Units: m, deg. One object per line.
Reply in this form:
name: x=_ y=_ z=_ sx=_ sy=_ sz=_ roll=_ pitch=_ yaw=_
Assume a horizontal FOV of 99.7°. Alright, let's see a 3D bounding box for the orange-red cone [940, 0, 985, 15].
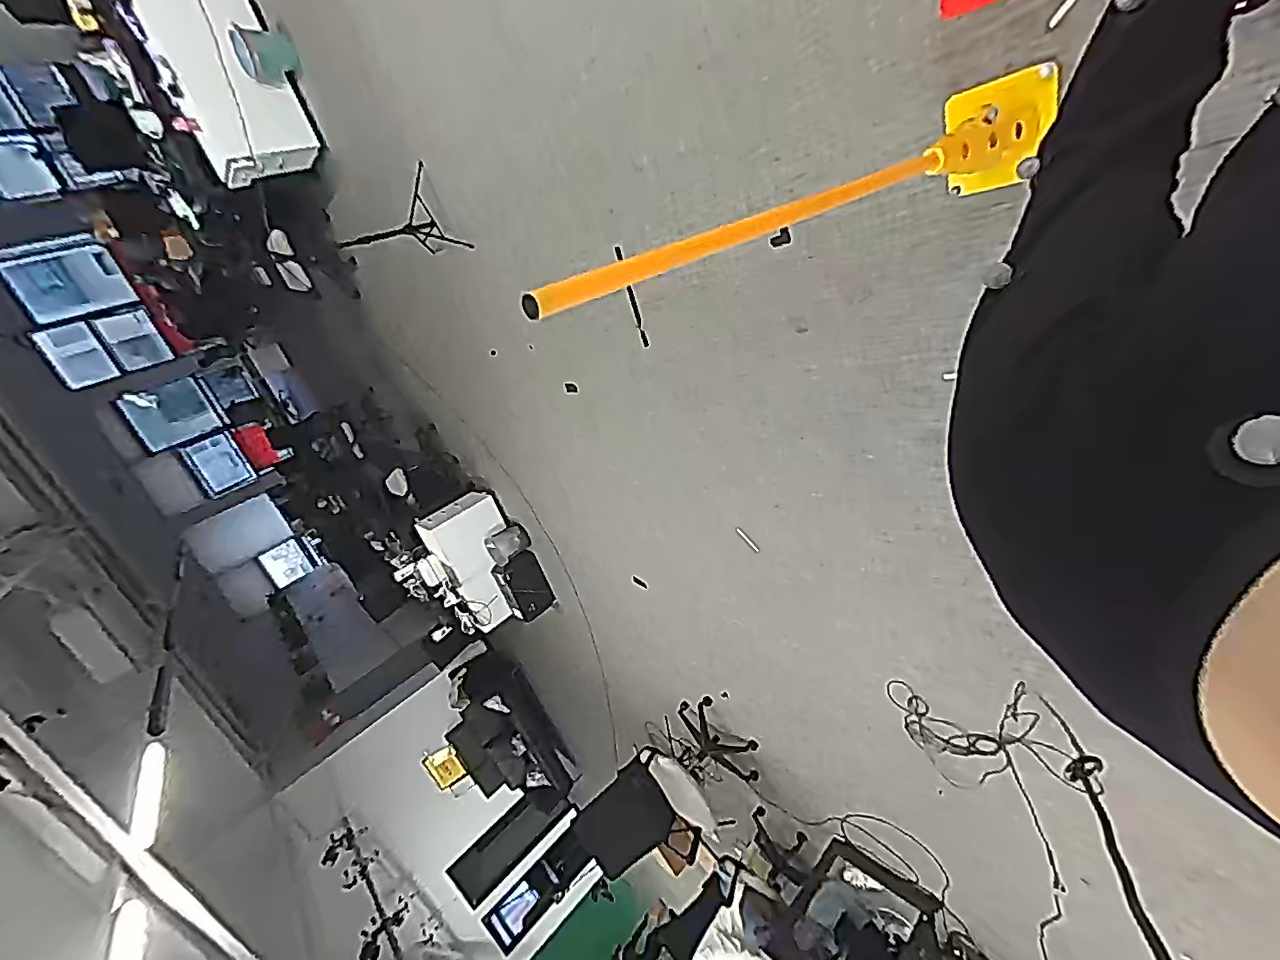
orange-red cone: x=0.539 y=-0.926 z=0.898 sx=0.198 sy=0.360 sz=0.199 roll=16 pitch=129 yaw=45
